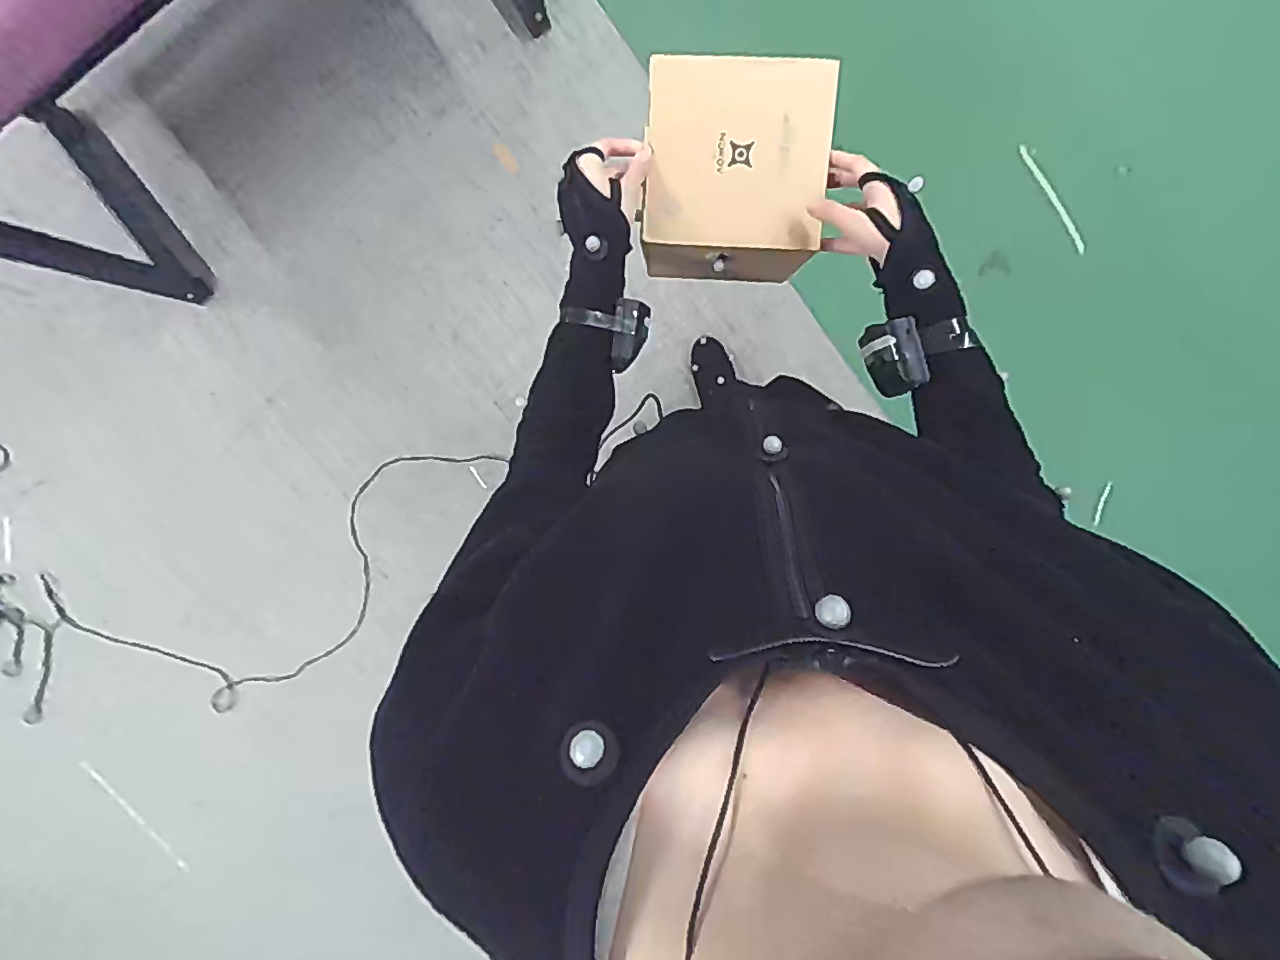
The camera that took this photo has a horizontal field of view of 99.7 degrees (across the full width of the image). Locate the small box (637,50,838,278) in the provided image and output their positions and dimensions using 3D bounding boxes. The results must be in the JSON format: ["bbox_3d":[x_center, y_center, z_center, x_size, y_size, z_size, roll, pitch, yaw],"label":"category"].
[{"bbox_3d":[0.094,-0.323,0.587,0.179,0.176,0.168,4,100,3],"label":"small box"}]
